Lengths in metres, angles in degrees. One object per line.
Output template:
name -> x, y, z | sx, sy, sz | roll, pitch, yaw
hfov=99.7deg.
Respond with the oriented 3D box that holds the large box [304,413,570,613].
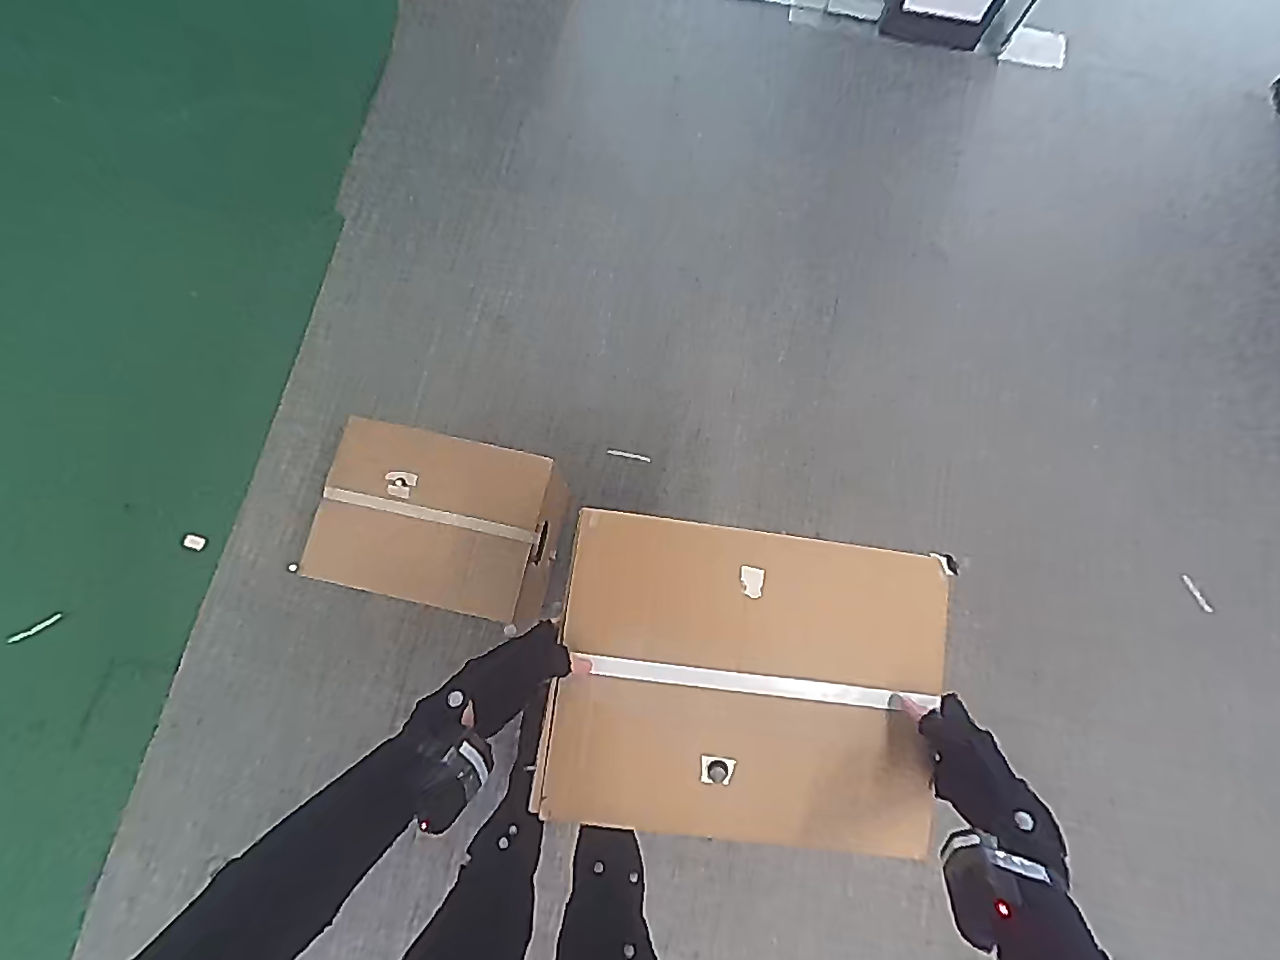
large box -> -0.388, 0.083, 1.149 | 0.408, 0.320, 0.320 | 13, 78, 2
